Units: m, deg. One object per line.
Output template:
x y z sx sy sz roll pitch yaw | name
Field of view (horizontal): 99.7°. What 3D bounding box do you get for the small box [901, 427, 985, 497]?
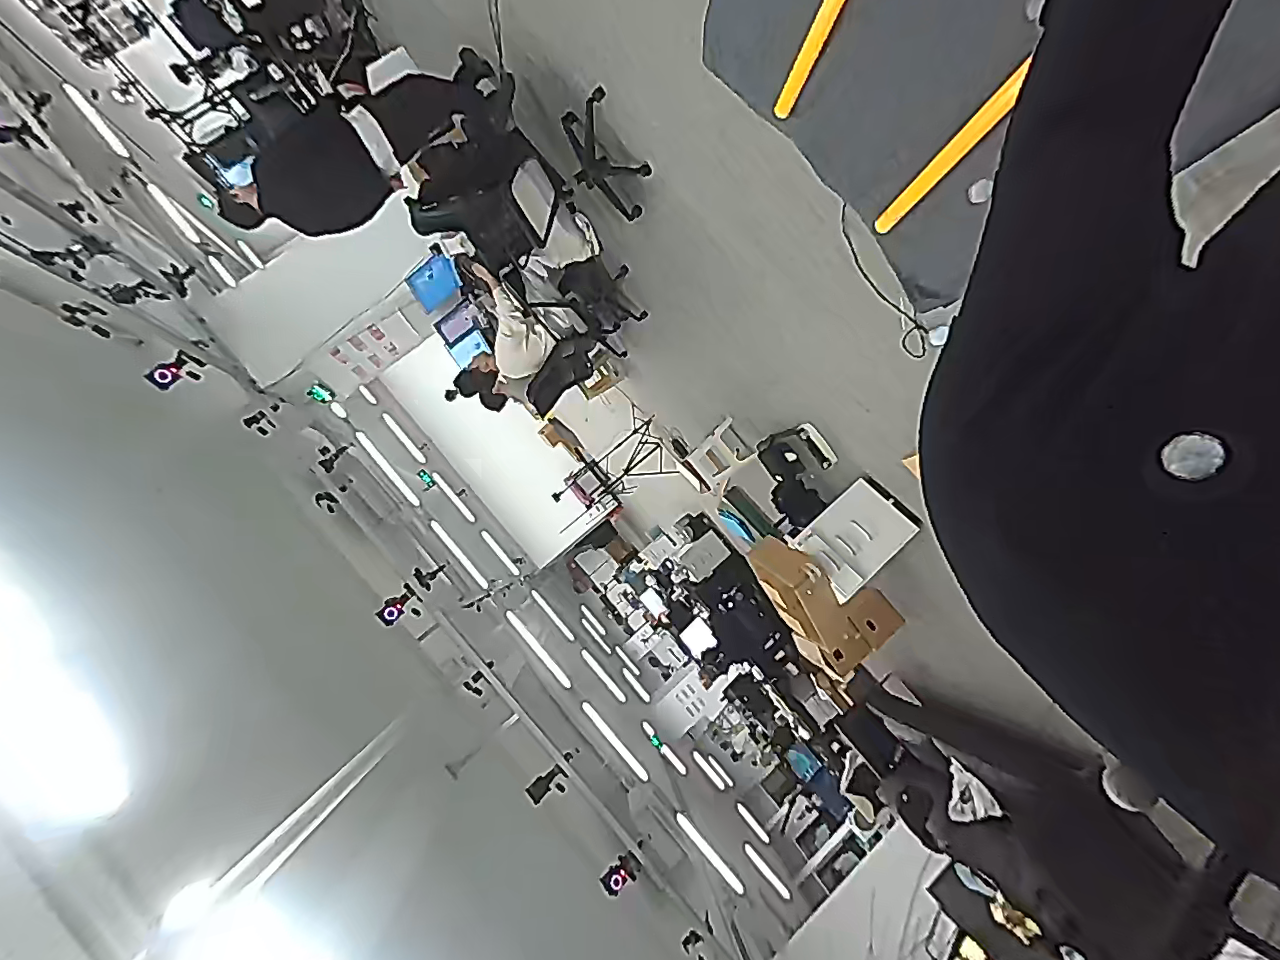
1.088 -0.065 1.931 0.168 0.176 0.179 49 170 6 | small box
